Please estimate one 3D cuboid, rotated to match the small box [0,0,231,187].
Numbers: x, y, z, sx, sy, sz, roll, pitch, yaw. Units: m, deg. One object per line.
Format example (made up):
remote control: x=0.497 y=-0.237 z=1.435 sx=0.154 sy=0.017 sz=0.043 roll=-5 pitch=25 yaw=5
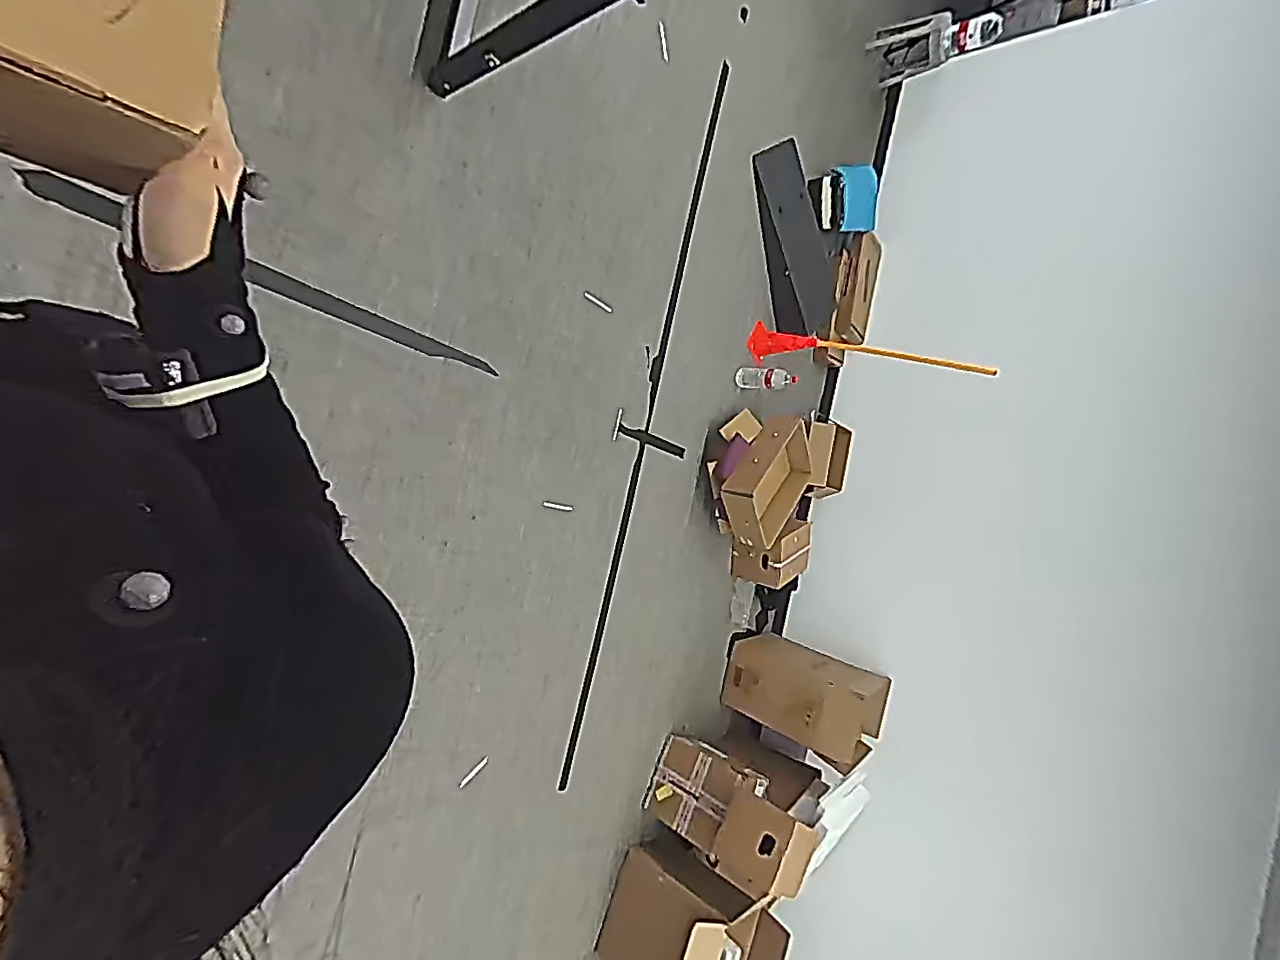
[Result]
small box: x=-0.273 y=-0.240 z=0.206 sx=0.168 sy=0.176 sz=0.179 roll=6 pitch=97 yaw=-52
